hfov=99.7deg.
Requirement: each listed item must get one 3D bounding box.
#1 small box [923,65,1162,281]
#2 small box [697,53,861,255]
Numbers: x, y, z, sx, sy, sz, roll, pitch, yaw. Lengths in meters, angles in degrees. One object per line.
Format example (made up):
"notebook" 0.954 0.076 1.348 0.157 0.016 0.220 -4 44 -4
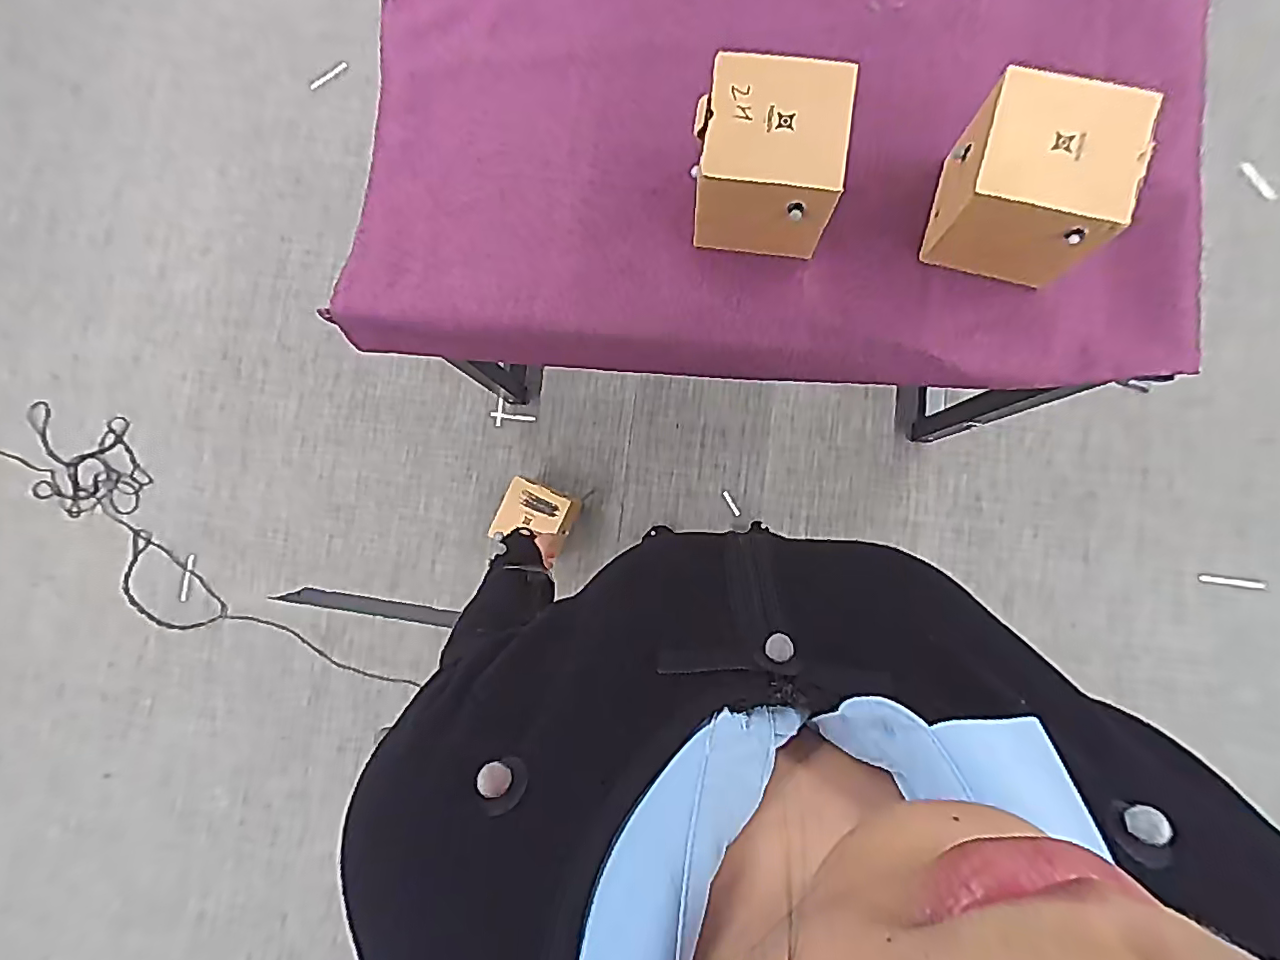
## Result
"small box" 0.502 -0.383 0.704 0.179 0.176 0.168 16 87 6
"small box" 0.176 -0.427 0.734 0.179 0.176 0.168 8 85 5
